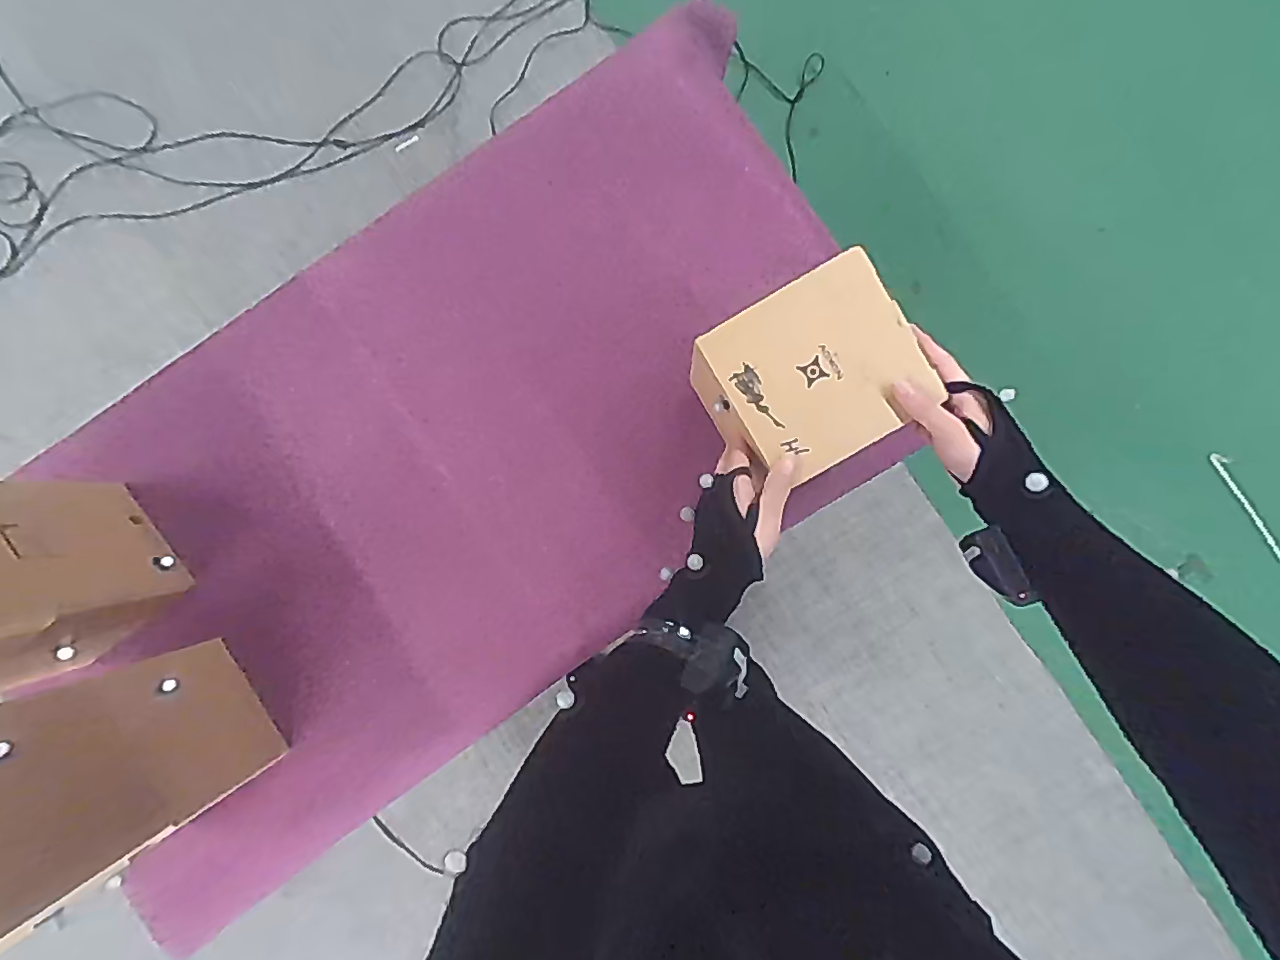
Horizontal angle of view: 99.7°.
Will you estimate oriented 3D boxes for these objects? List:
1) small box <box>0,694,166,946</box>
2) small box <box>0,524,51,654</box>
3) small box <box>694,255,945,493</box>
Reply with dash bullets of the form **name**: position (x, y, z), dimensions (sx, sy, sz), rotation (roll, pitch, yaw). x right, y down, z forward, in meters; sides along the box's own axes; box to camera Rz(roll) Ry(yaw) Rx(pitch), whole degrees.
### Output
- **small box**: position (-0.570, 0.305, 0.449), dimensions (0.168, 0.176, 0.179), rotation (-37, 87, 0)
- **small box**: position (-0.688, 0.110, 0.459), dimensions (0.168, 0.176, 0.179), rotation (-37, 87, 0)
- **small box**: position (0.170, -0.097, 0.578), dimensions (0.179, 0.176, 0.168), rotation (-29, 87, 2)
